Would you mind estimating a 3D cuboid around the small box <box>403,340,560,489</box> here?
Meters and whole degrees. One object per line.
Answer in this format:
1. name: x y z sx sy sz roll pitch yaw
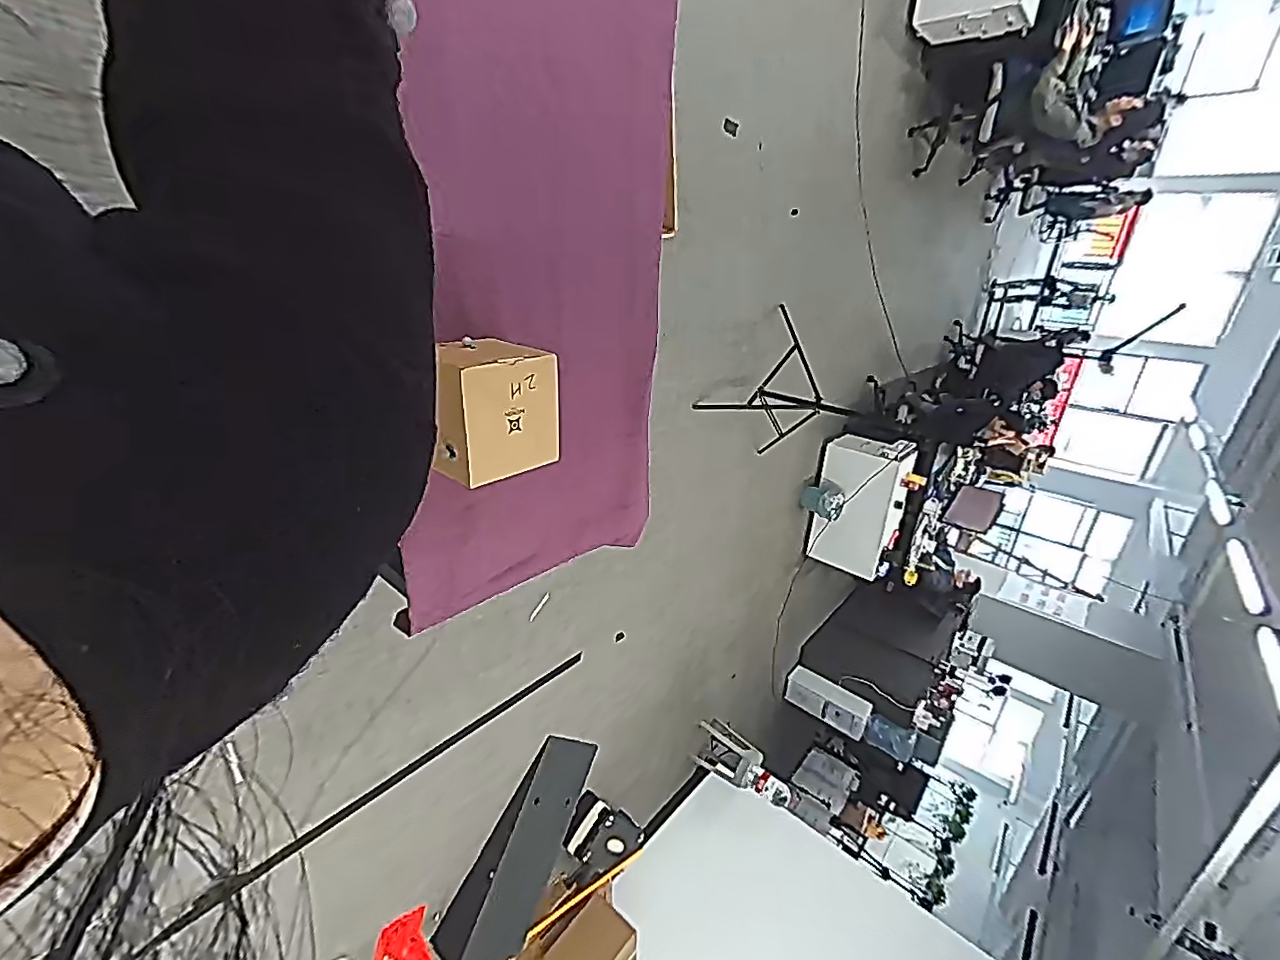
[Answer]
1. small box: -0.241 -0.110 0.834 0.168 0.176 0.179 -23 124 -45
